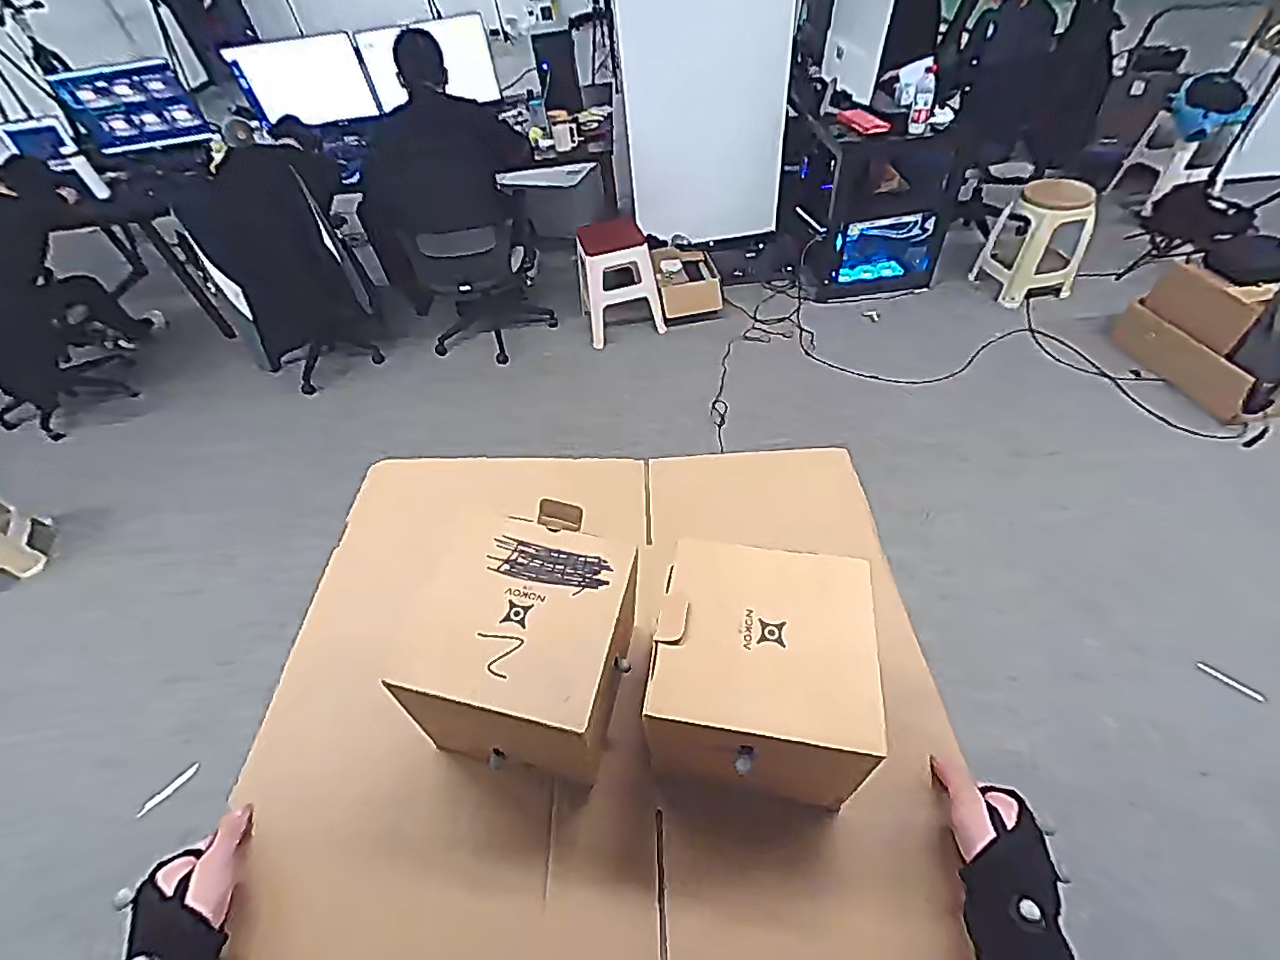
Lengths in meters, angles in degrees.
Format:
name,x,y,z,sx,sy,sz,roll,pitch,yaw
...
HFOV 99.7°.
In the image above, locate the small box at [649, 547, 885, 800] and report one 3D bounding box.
name,x,y,z,sx,sy,sz,roll,pitch,yaw
small box,0.114,0.185,0.512,0.179,0.176,0.168,4,49,11
